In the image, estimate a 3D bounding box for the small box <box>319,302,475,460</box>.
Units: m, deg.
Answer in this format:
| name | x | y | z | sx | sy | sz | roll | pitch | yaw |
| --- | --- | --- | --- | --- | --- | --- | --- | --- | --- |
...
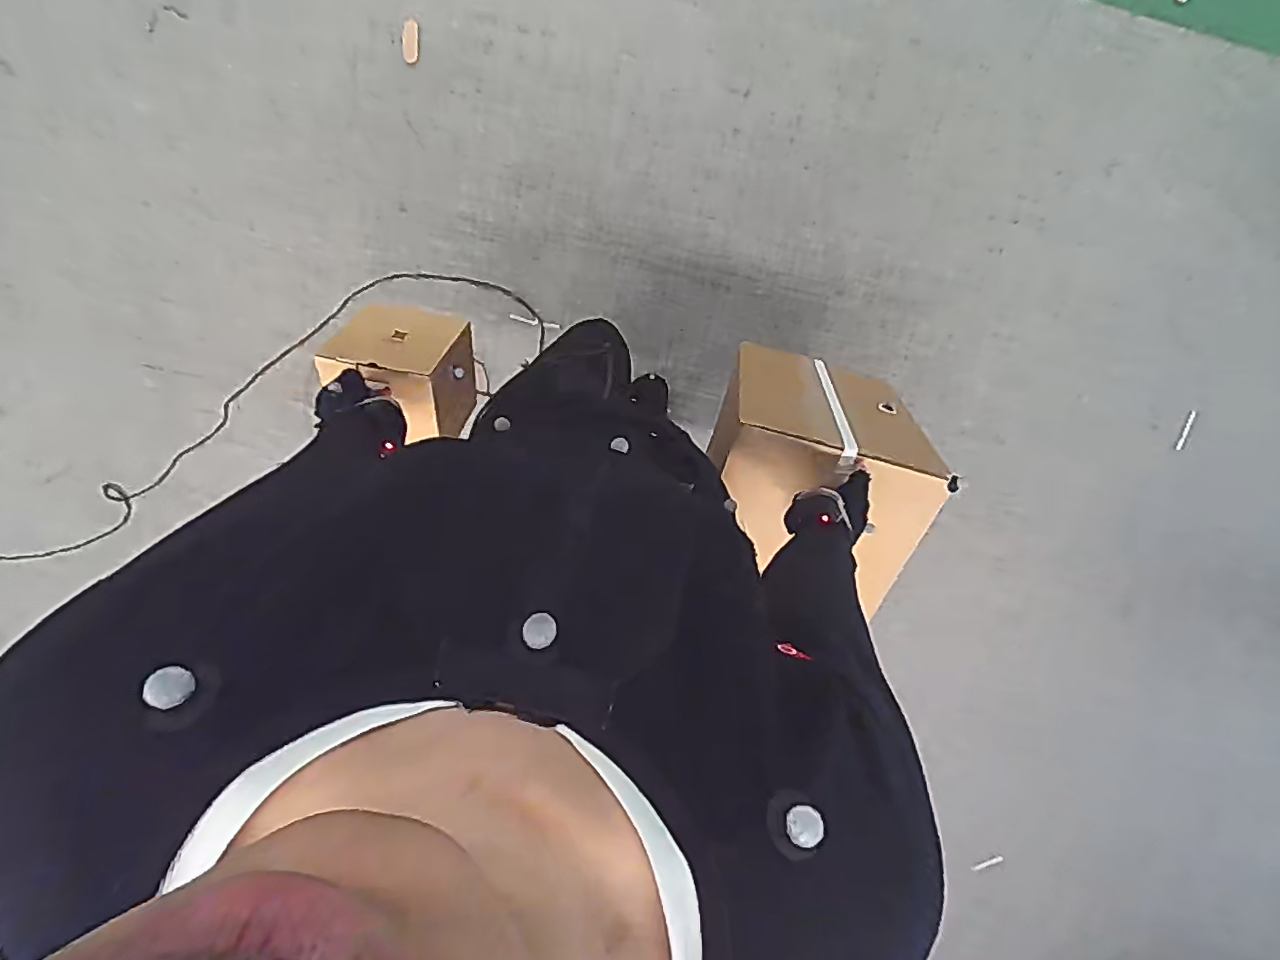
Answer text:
| name | x | y | z | sx | sy | sz | roll | pitch | yaw |
| --- | --- | --- | --- | --- | --- | --- | --- | --- | --- |
| small box | -0.374 | -0.159 | 0.872 | 0.168 | 0.179 | 0.176 | 9 | 135 | -1 |
